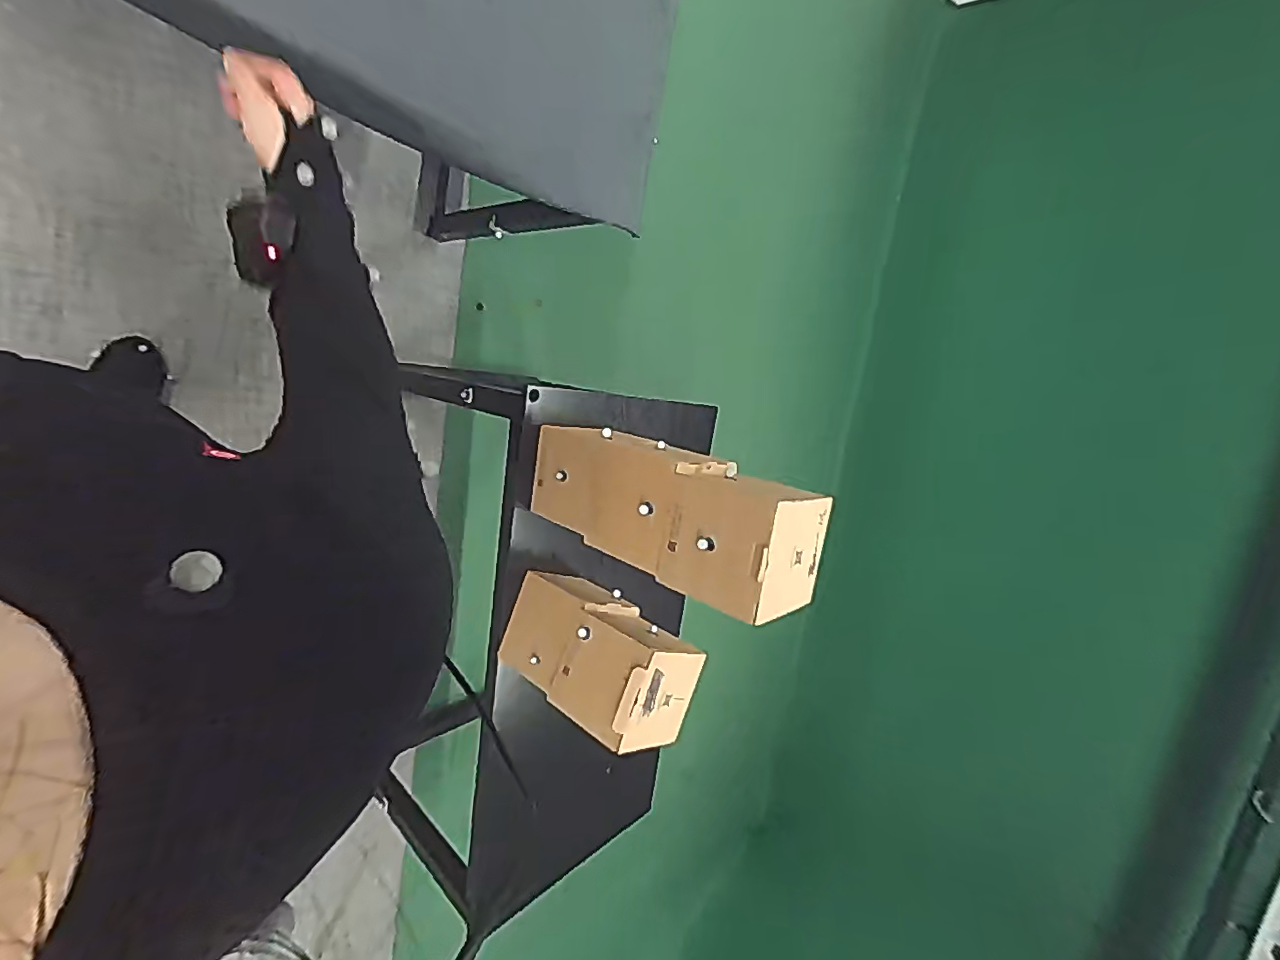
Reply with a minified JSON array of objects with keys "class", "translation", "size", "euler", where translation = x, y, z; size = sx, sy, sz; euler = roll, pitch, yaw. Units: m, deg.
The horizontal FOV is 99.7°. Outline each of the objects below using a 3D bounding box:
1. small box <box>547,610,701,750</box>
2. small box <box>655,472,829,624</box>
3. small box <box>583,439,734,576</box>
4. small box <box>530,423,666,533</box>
[{"class":"small box","translation":[-0.029,0.335,0.931],"size":[0.179,0.176,0.168],"euler":[26,84,-51]},{"class":"small box","translation":[0.144,0.087,0.782],"size":[0.179,0.176,0.168],"euler":[0,103,-48]},{"class":"small box","translation":[0.026,0.038,0.886],"size":[0.168,0.176,0.179],"euler":[-2,105,-48]},{"class":"small box","translation":[-0.081,-0.008,1.000],"size":[0.179,0.176,0.168],"euler":[-2,107,-49]}]
